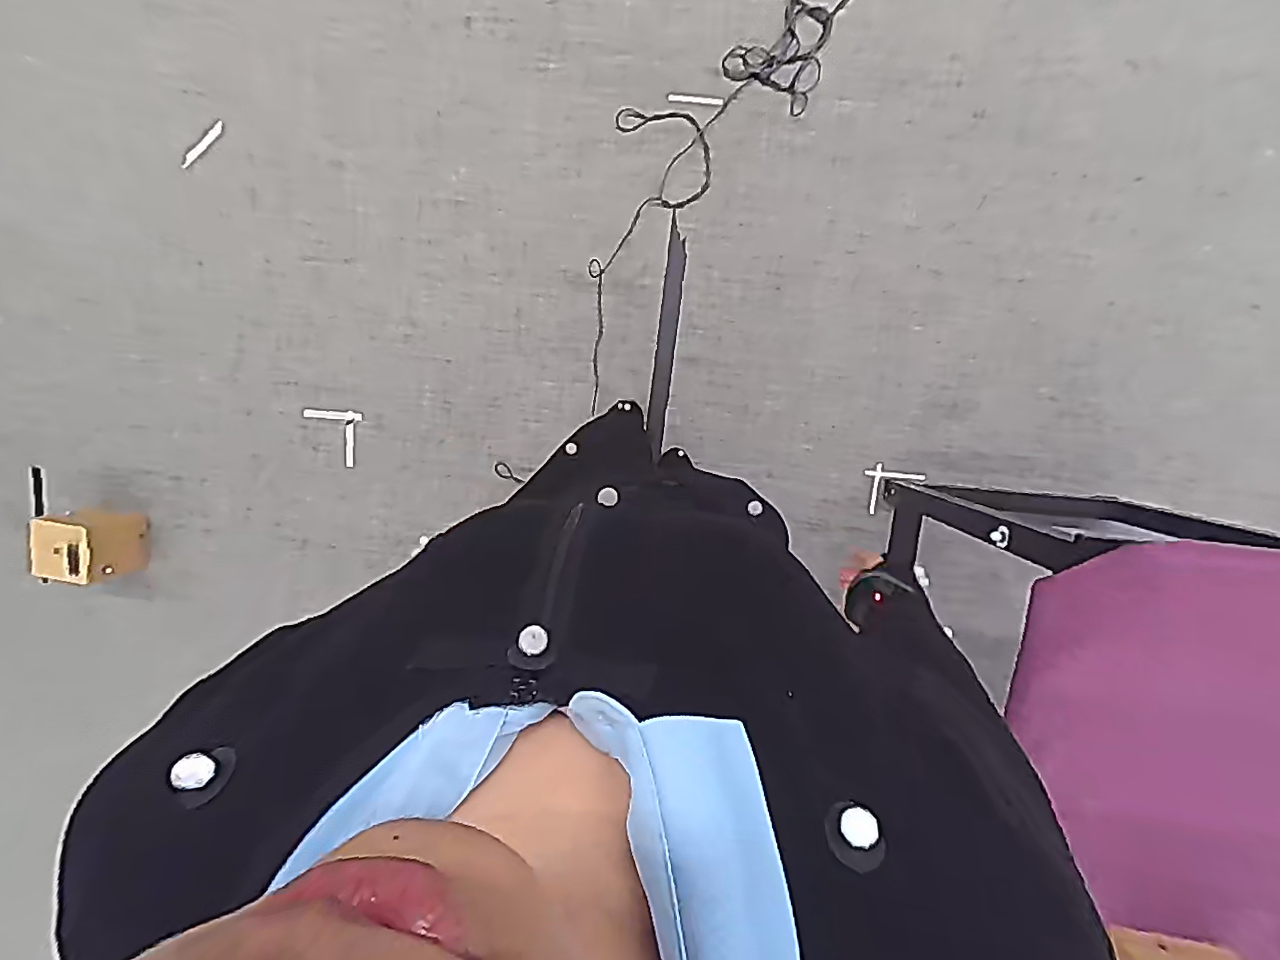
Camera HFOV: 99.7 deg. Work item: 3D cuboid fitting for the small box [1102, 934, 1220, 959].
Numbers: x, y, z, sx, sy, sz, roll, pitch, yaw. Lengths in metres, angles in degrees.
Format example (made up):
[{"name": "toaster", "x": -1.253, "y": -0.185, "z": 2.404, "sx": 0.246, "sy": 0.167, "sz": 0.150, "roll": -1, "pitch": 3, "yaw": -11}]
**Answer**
[{"name": "small box", "x": 0.727, "y": 0.743, "z": 0.694, "sx": 0.168, "sy": 0.176, "sz": 0.179, "roll": 9, "pitch": 98, "yaw": 4}]
